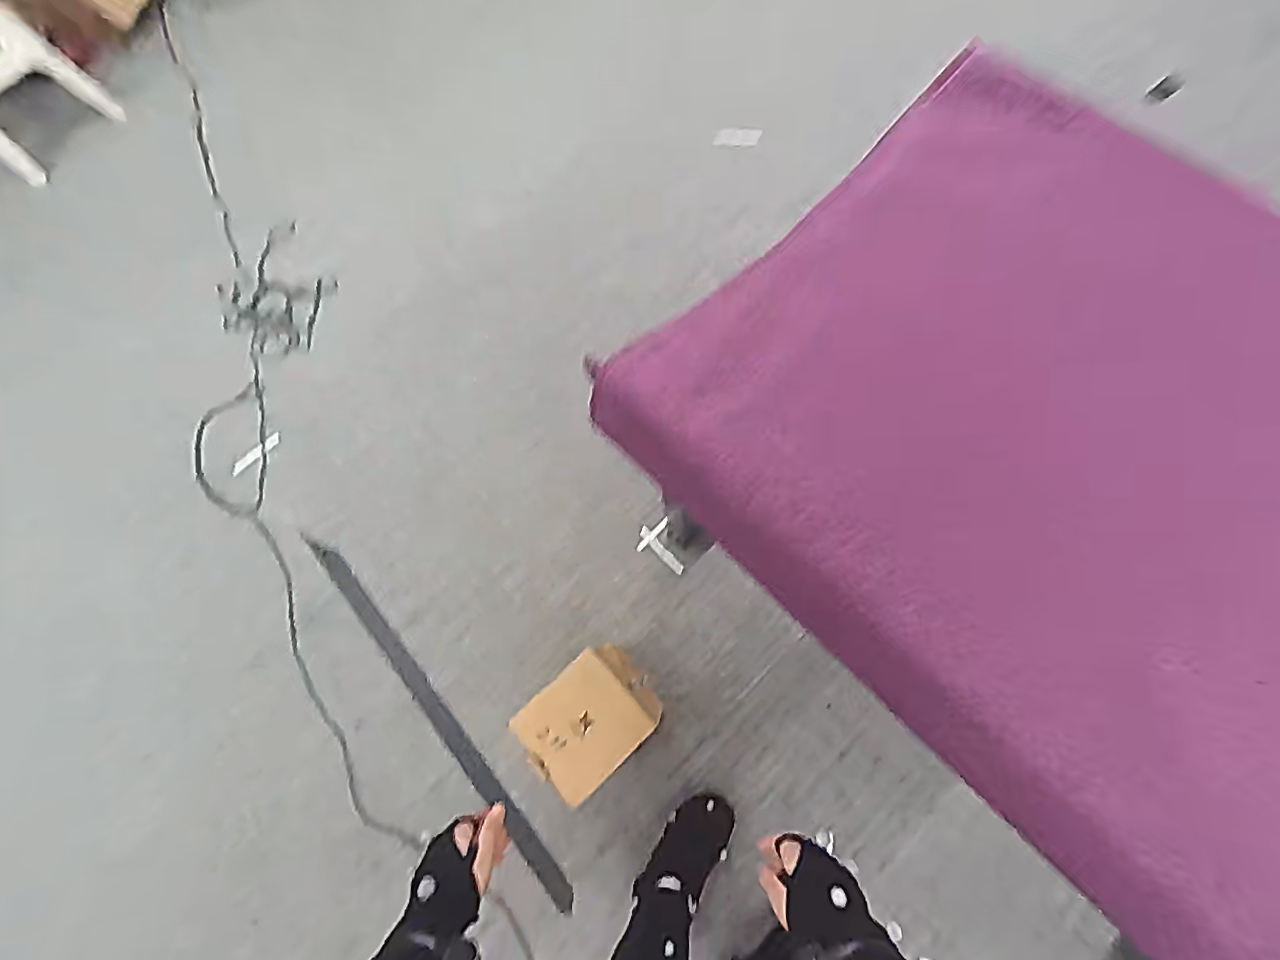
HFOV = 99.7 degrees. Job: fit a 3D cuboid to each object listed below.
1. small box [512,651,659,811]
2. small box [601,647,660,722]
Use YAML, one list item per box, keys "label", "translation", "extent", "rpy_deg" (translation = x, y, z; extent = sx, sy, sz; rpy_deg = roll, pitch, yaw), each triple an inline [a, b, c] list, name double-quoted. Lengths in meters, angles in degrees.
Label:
- label: "small box"
  translation: [-0.084, 0.413, 0.925]
  extent: [0.179, 0.176, 0.168]
  rpy_deg: [-42, 74, -9]
- label: "small box"
  translation: [-0.074, 0.458, 1.084]
  extent: [0.179, 0.176, 0.168]
  rpy_deg: [-37, 73, -8]
